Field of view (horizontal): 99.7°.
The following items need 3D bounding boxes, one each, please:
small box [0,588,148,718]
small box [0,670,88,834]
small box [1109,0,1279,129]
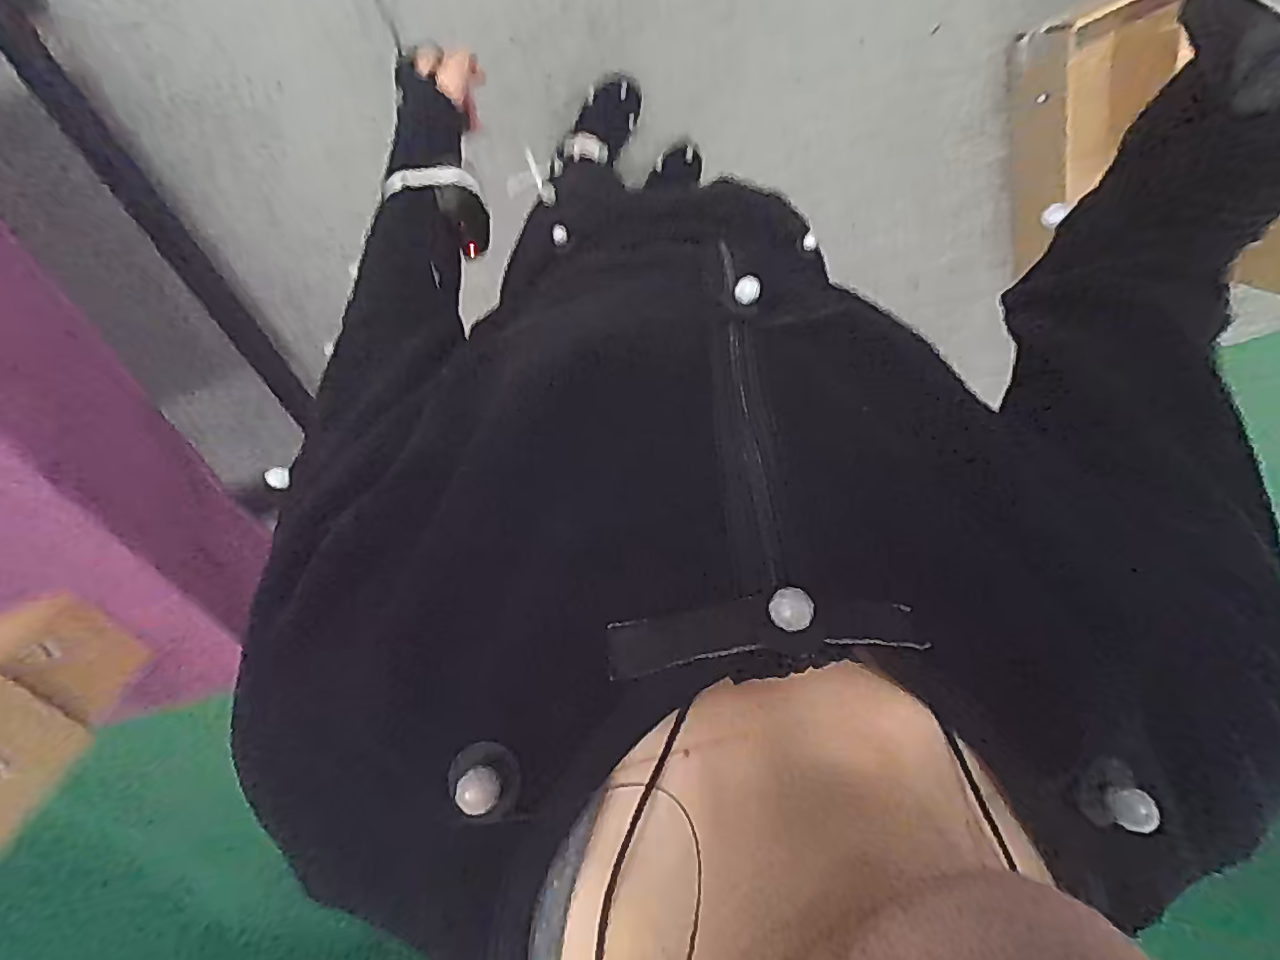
[{"bbox_3d":[-0.994,0.298,0.890,0.168,0.176,0.179,-18,124,9],"label":"small box"},{"bbox_3d":[-0.961,0.381,0.750,0.168,0.176,0.179,-13,126,6],"label":"small box"},{"bbox_3d":[1.060,-0.813,1.047,0.168,0.176,0.179,-19,125,12],"label":"small box"}]
